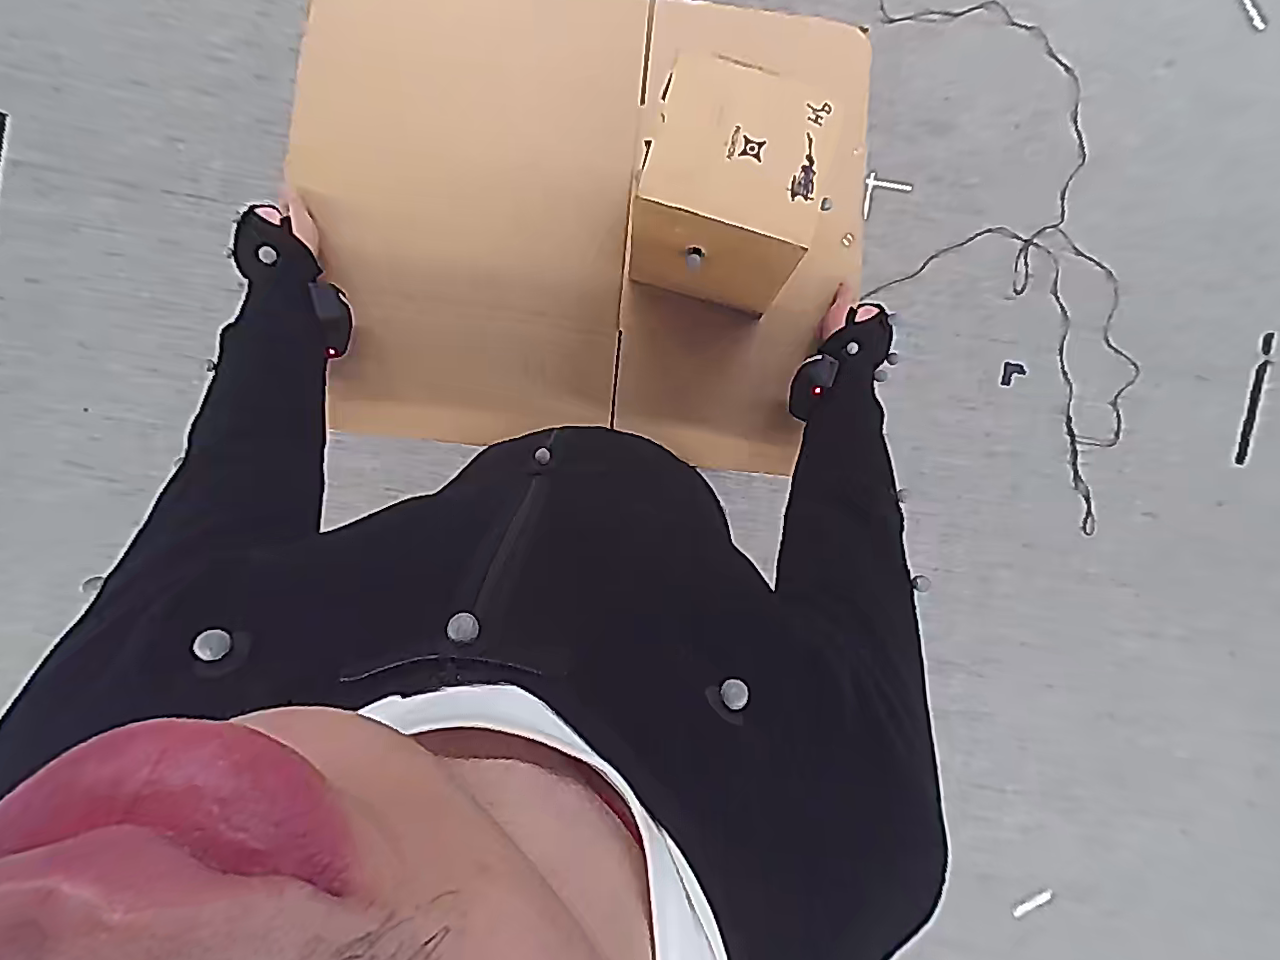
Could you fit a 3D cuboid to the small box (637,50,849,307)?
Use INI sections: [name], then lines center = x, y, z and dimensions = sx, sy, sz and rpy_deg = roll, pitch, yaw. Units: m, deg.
[small box]
center = 0.099, -0.317, 0.605
dimensions = 0.179, 0.176, 0.168
rpy_deg = 16, 85, -1
